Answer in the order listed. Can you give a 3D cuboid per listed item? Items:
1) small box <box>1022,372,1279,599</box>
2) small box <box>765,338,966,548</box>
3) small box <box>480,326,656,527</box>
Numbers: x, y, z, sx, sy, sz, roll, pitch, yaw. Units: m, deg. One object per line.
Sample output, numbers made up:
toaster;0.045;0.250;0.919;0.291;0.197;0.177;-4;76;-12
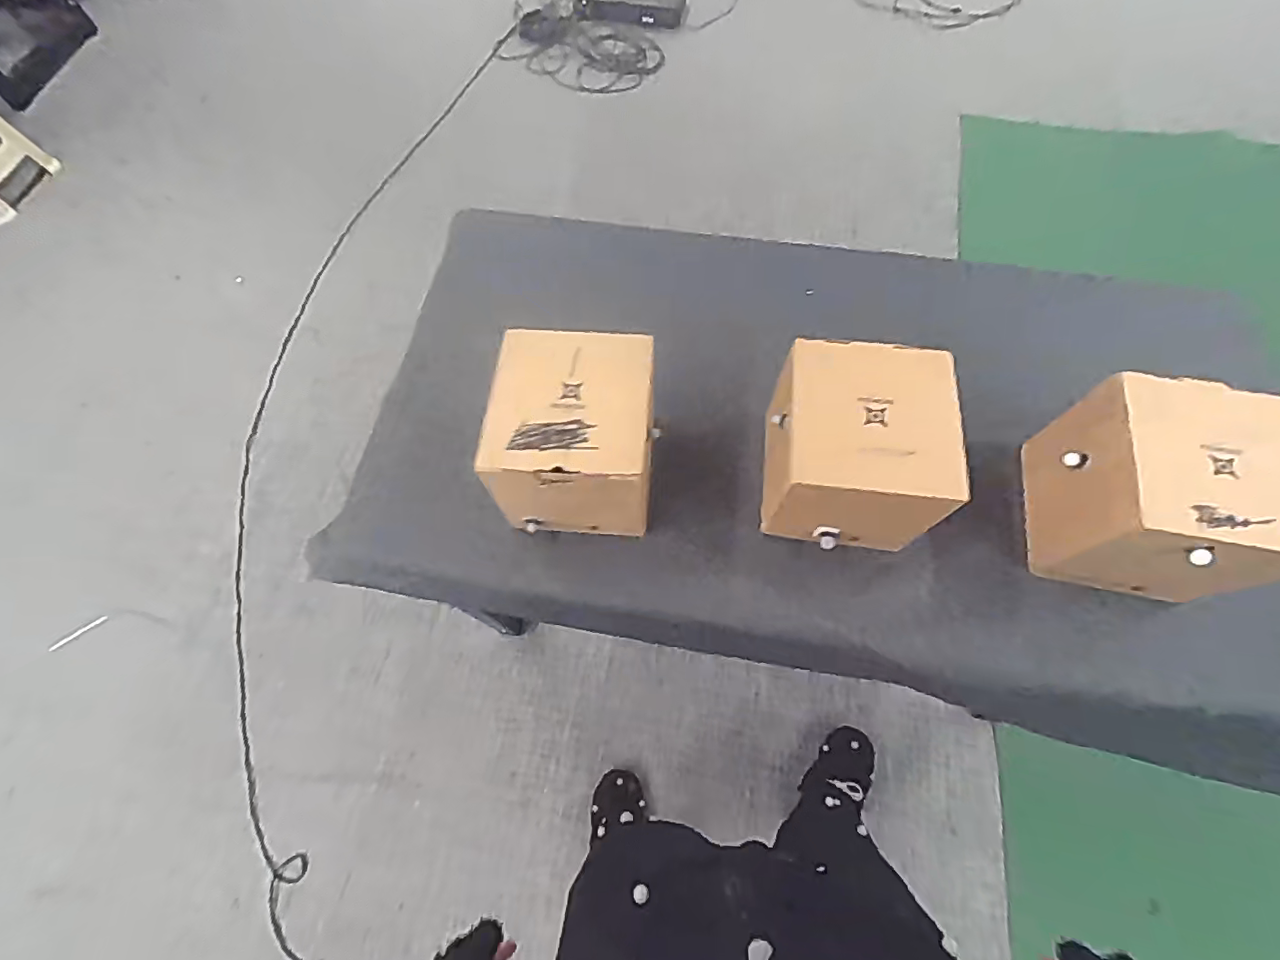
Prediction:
small box;0.552;0.013;0.589;0.168;0.176;0.179;11;66;7
small box;0.241;-0.036;0.622;0.168;0.176;0.179;6;67;5
small box;-0.069;-0.054;0.634;0.168;0.176;0.179;4;64;3
